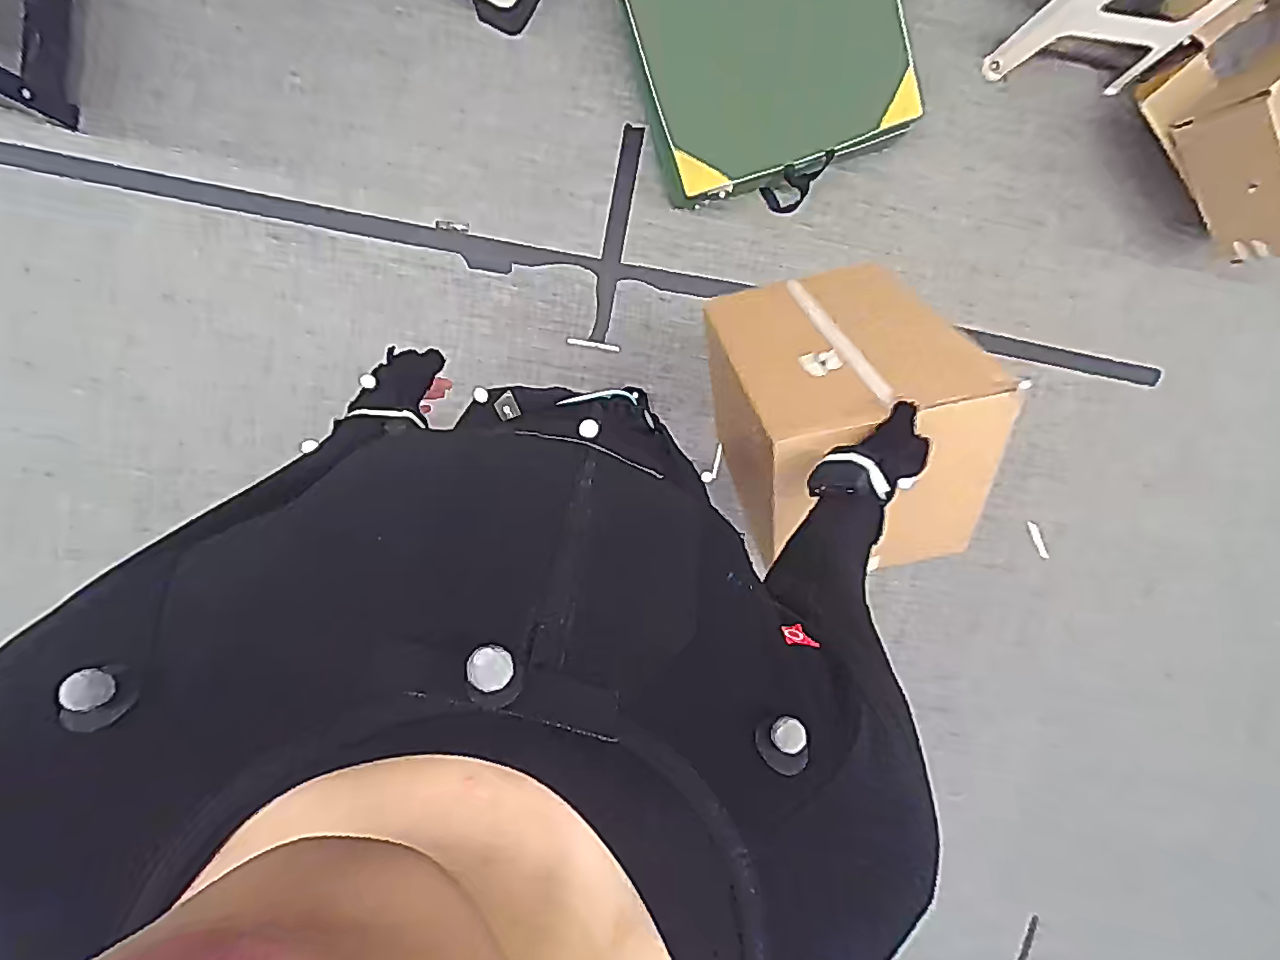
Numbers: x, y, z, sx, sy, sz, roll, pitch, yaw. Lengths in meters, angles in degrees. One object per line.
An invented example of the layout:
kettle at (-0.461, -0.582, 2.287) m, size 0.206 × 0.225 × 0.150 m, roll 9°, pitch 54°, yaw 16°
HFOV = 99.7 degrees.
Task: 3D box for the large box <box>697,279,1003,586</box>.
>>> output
large box at (0.301, -0.092, 0.922) m, size 0.320 × 0.408 × 0.320 m, roll -13°, pitch 133°, yaw 1°
